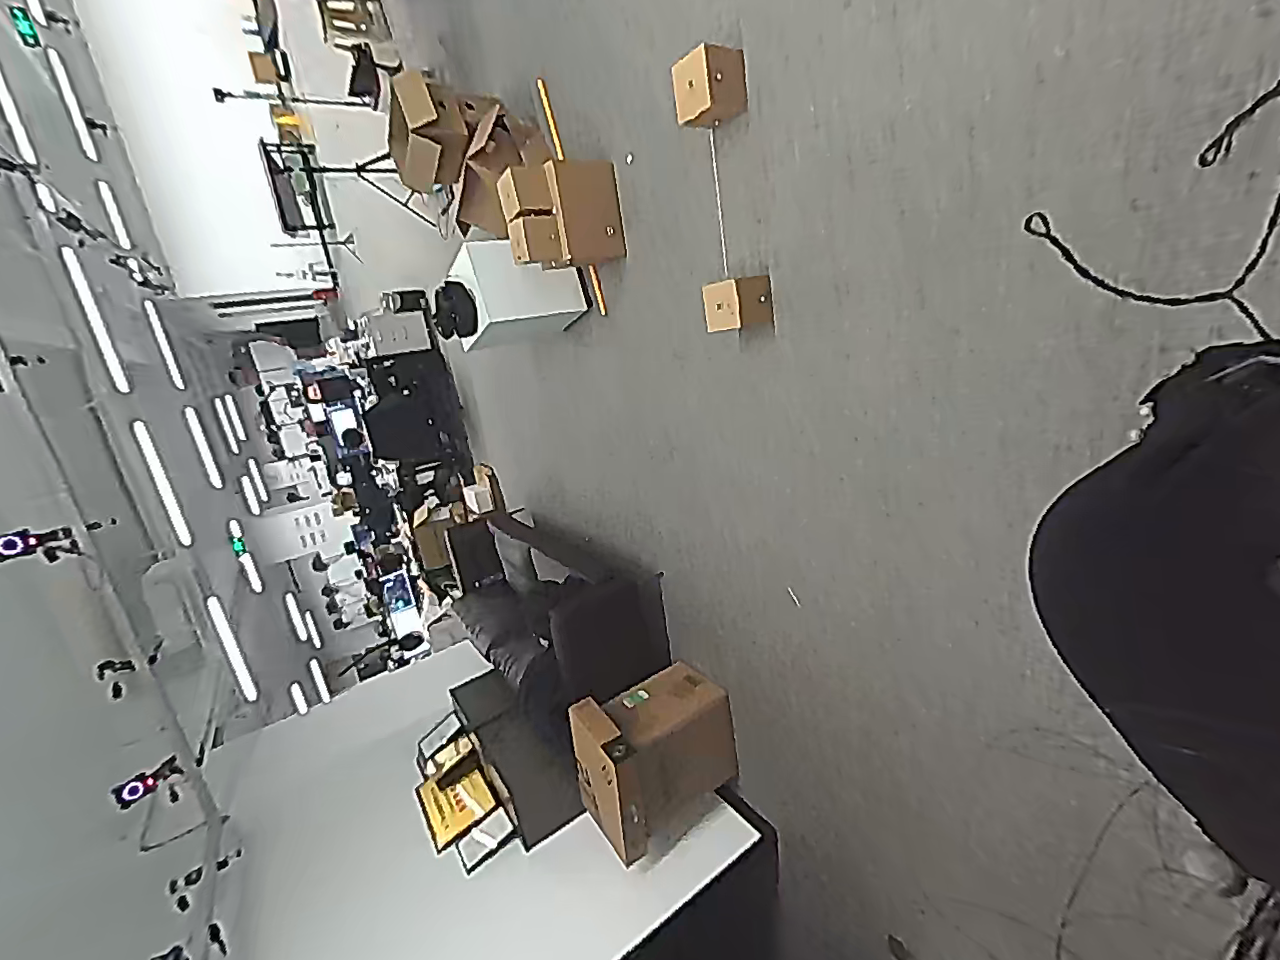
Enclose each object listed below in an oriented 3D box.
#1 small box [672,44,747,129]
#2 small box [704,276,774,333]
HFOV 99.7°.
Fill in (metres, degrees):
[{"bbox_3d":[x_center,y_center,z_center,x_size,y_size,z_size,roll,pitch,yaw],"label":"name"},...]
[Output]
[{"bbox_3d":[0.229,-1.283,1.775,0.168,0.176,0.179,13,118,55],"label":"small box"},{"bbox_3d":[0.357,-0.630,1.943,0.179,0.176,0.168,13,118,56],"label":"small box"}]
